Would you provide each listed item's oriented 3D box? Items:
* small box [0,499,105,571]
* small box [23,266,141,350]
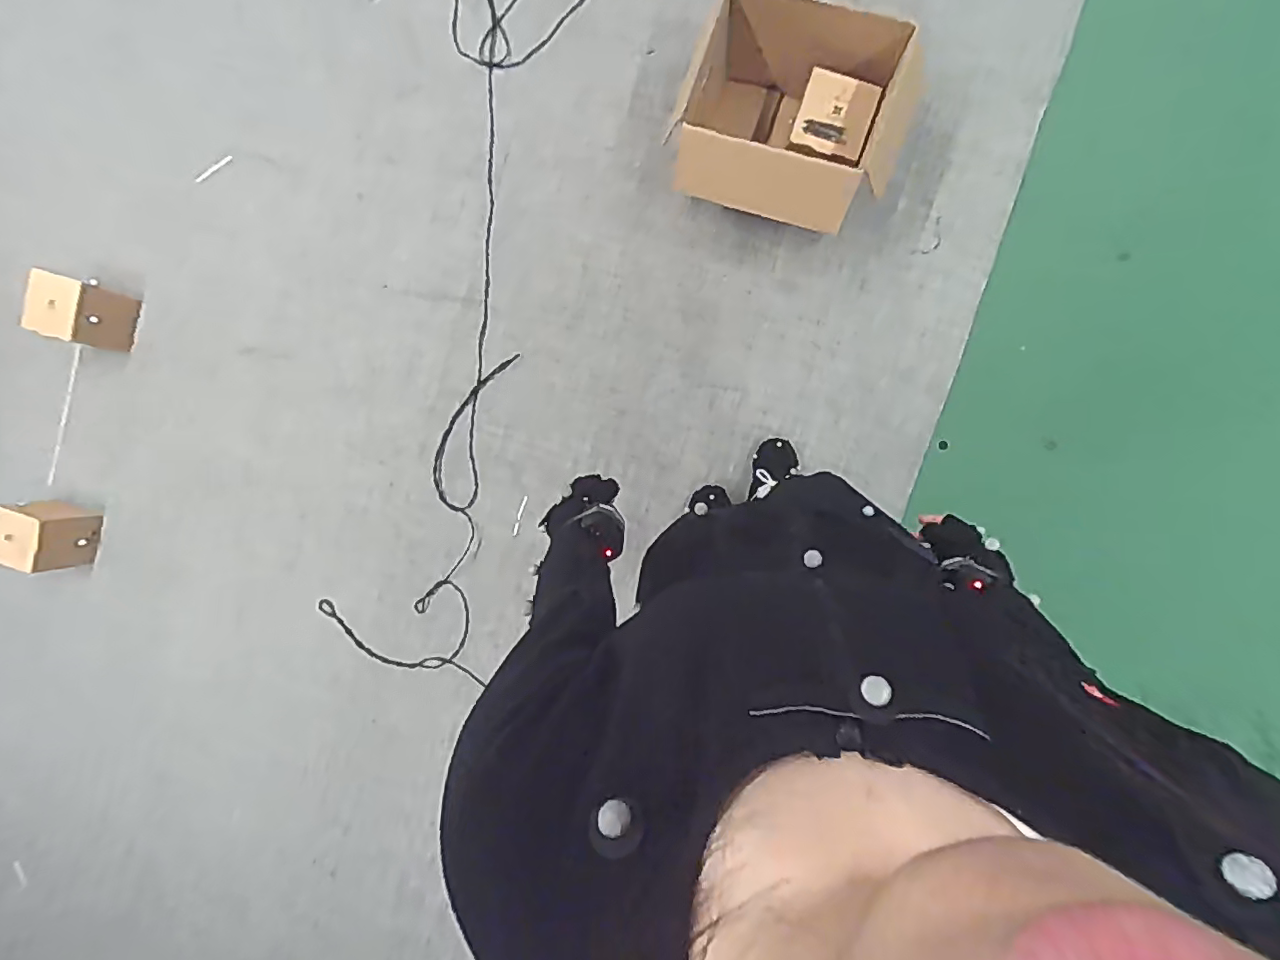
[{"bbox_3d":[-1.808,0.161,1.649,0.179,0.176,0.168,16,95,6],"label":"small box"},{"bbox_3d":[-1.634,-0.500,1.593,0.168,0.176,0.179,17,95,5],"label":"small box"}]
